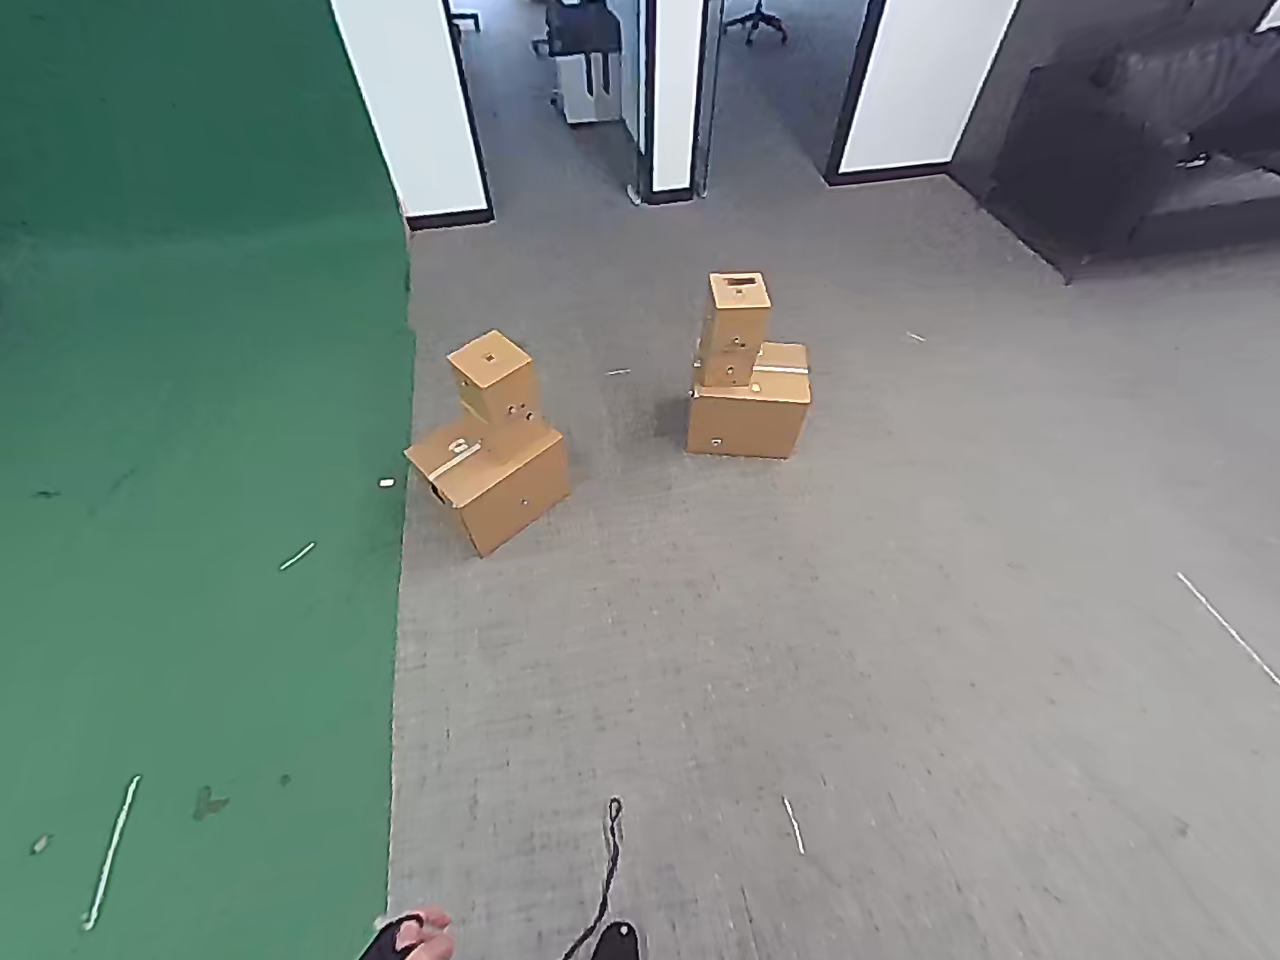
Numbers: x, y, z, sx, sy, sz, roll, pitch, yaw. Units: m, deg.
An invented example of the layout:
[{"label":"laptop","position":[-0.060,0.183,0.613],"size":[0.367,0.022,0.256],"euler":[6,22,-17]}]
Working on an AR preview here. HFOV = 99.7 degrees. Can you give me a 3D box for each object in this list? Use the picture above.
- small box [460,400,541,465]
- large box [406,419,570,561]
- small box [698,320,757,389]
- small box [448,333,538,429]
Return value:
[{"label":"small box","position":[-0.419,-0.182,1.662],"size":[0.168,0.176,0.179],"euler":[38,61,25]},{"label":"large box","position":[-0.494,-0.009,1.839],"size":[0.320,0.320,0.408],"euler":[37,62,26]},{"label":"small box","position":[0.296,-0.428,1.863],"size":[0.168,0.176,0.179],"euler":[-1,54,-2]},{"label":"small box","position":[-0.410,-0.277,1.530],"size":[0.168,0.176,0.179],"euler":[-38,63,-25]}]
